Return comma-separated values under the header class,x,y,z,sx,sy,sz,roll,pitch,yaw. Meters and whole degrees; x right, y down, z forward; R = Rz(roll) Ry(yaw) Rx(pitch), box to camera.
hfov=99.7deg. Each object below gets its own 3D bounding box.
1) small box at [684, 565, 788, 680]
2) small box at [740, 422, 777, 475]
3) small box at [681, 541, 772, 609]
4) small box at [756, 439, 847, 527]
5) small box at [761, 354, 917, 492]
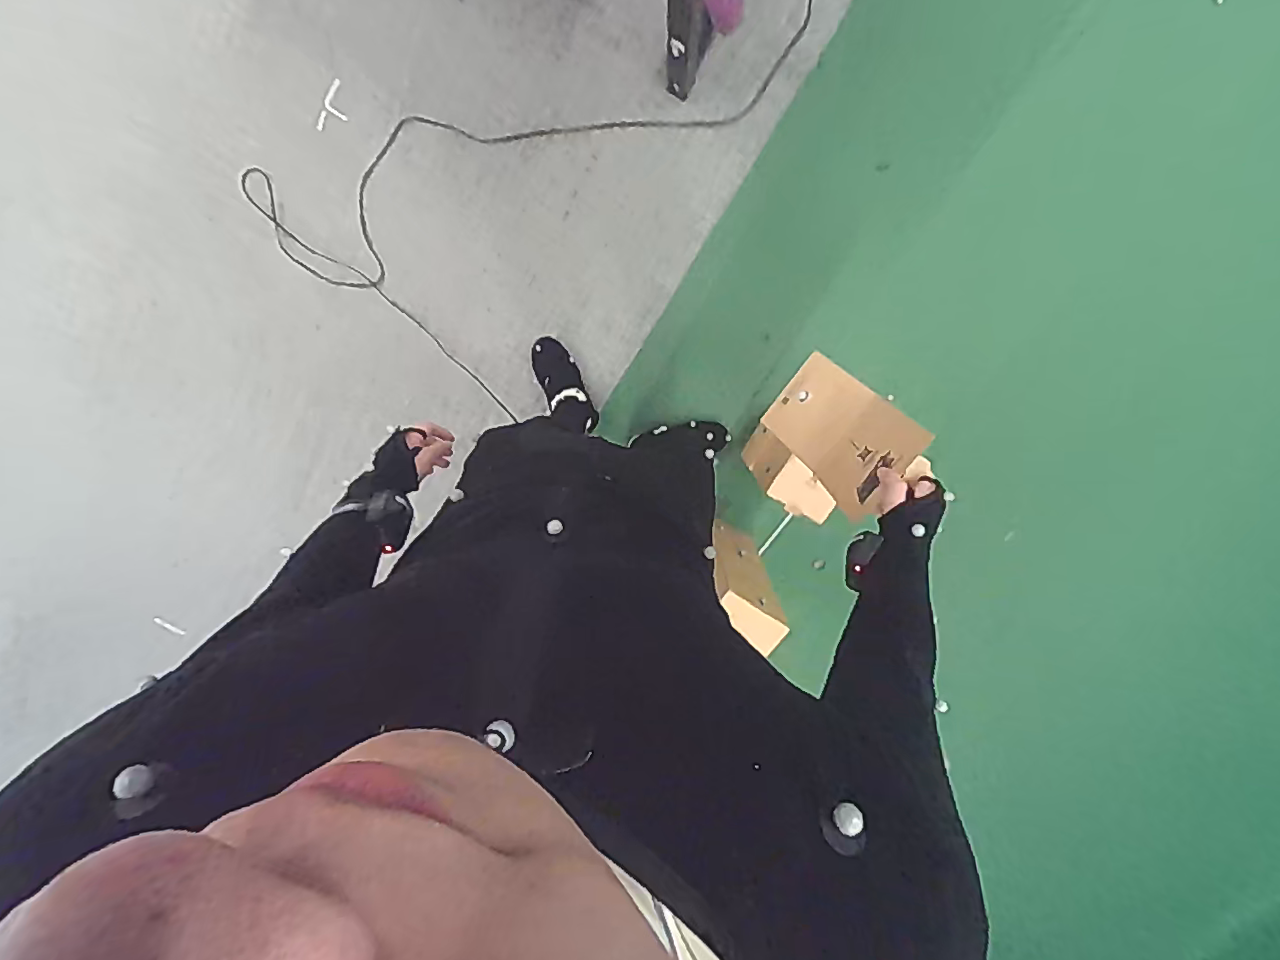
class,x,y,z,sx,sy,sz,roll,pitch,yaw
small box,0.221,0.333,1.297,0.179,0.176,0.168,34,105,-7
small box,0.401,-0.074,1.512,0.179,0.176,0.168,29,105,-8
small box,0.224,0.287,1.456,0.179,0.176,0.168,33,106,-6
small box,0.410,-0.017,1.360,0.168,0.176,0.179,29,105,-8
small box,0.363,-0.108,1.005,0.179,0.176,0.168,19,117,-38
